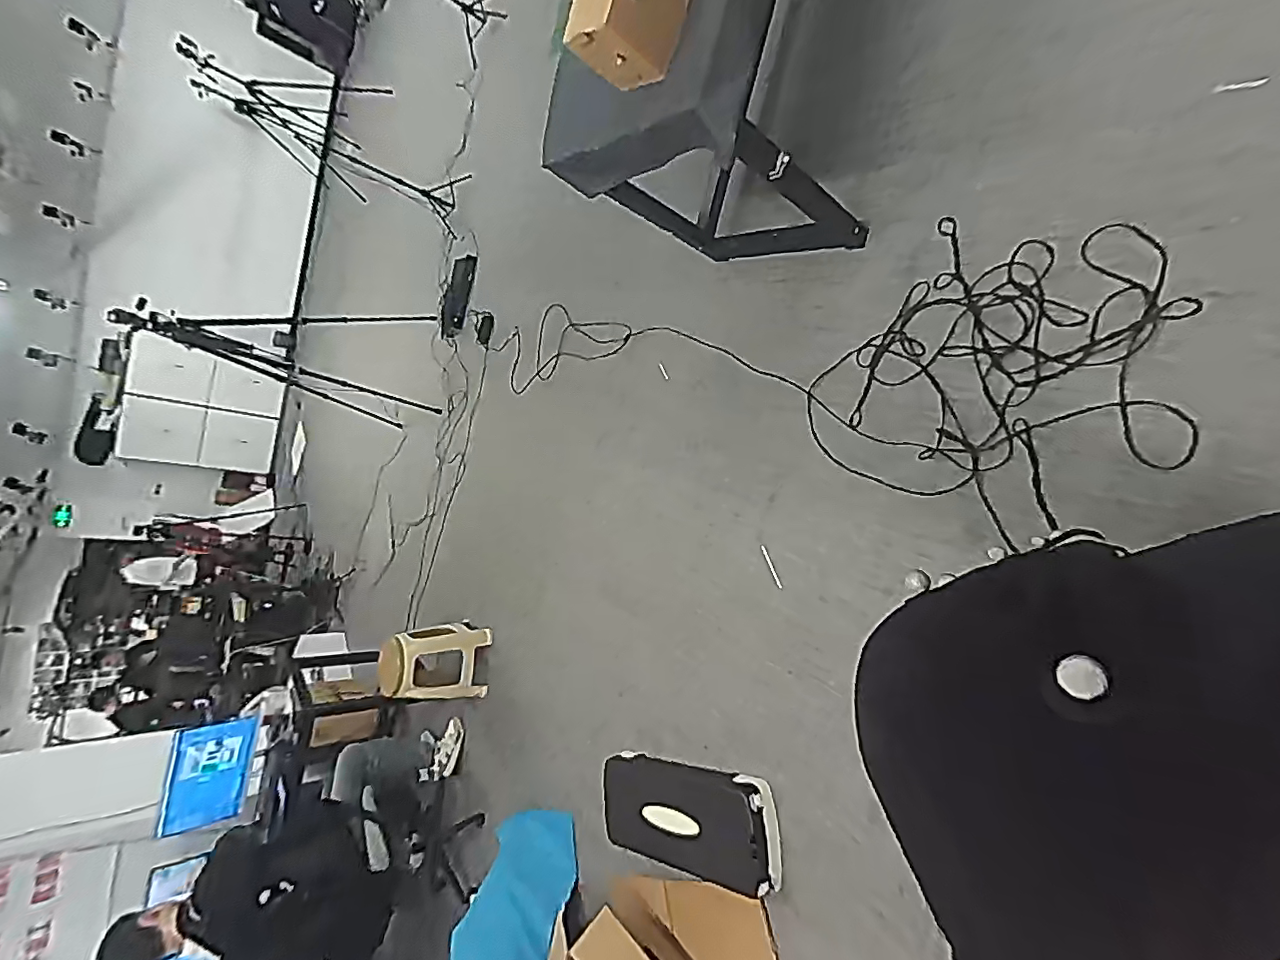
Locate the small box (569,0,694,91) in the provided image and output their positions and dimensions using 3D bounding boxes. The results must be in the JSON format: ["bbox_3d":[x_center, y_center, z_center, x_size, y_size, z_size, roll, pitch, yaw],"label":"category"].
[{"bbox_3d":[-0.015,-0.941,1.116,0.168,0.176,0.179,30,104,46],"label":"small box"}]
